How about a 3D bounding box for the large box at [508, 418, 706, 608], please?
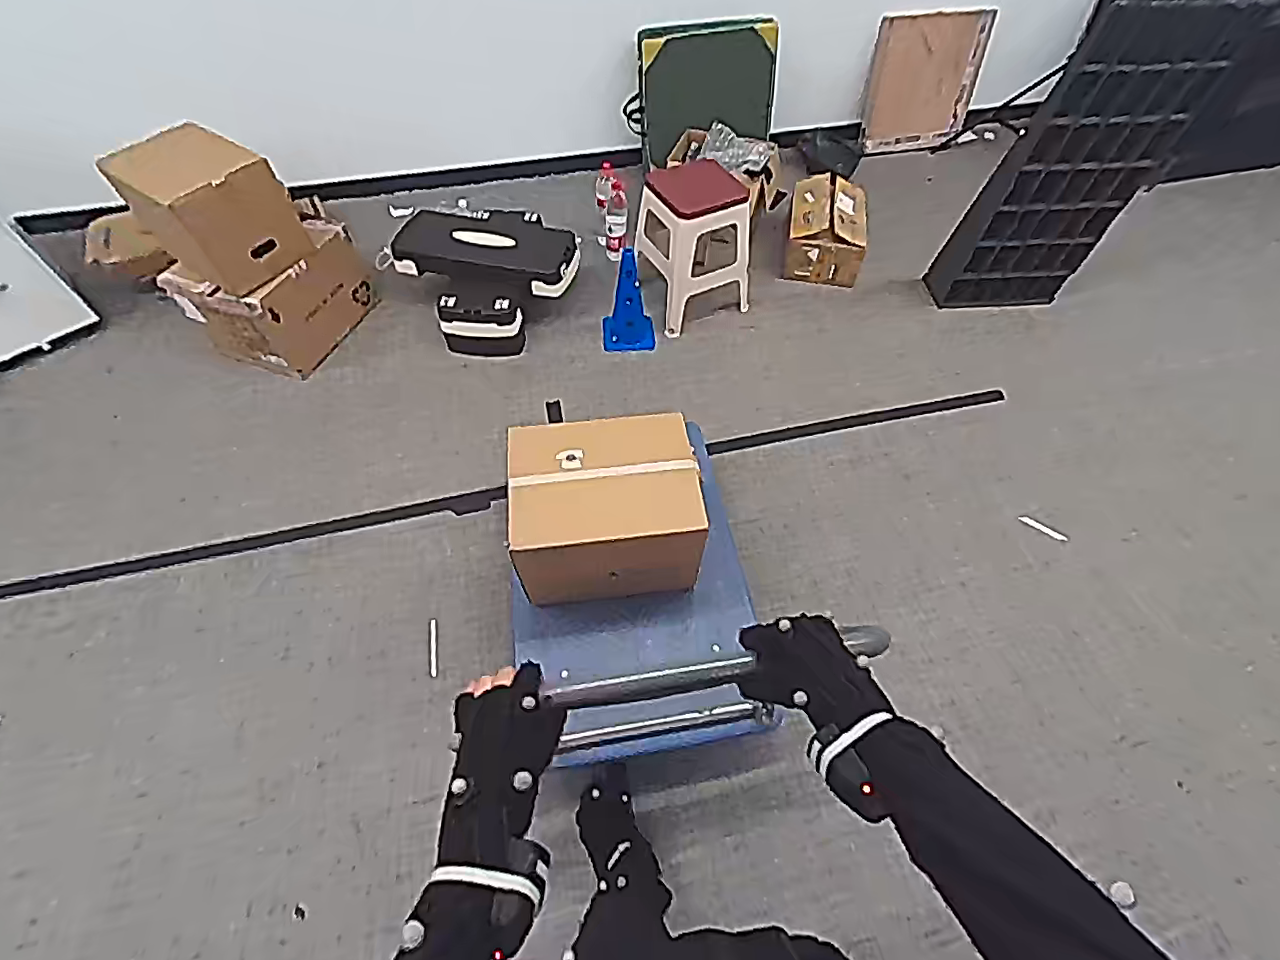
[{"bbox_3d":[-0.080,0.086,1.291,0.408,0.320,0.320,-7,56,-4],"label":"large box"}]
